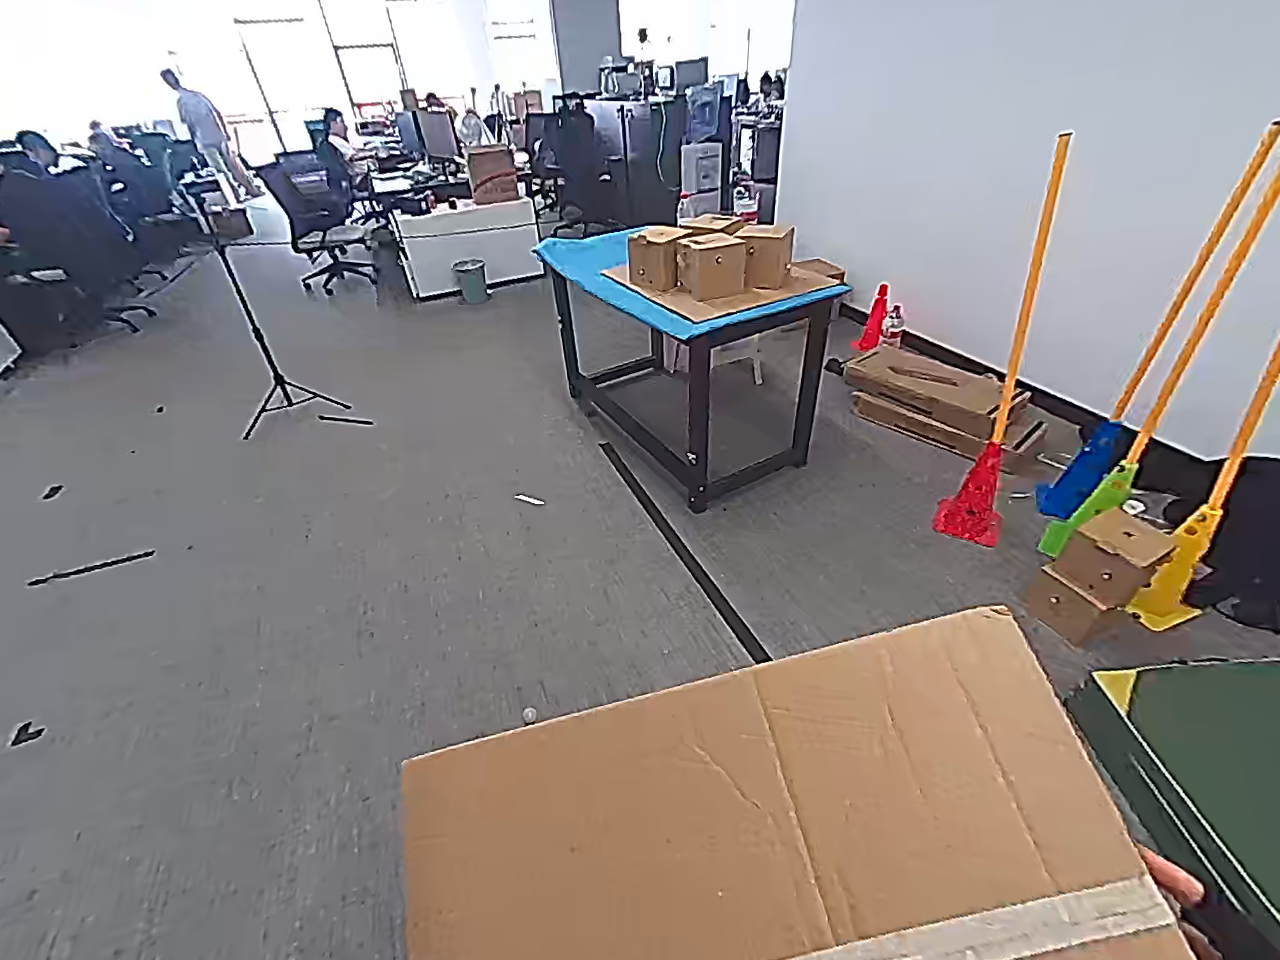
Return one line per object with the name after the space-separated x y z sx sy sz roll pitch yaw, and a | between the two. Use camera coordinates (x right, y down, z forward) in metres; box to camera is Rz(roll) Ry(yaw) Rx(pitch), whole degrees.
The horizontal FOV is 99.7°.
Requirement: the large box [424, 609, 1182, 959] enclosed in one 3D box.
0.100 0.332 0.428 0.408 0.320 0.320 -16 66 3 | large box
